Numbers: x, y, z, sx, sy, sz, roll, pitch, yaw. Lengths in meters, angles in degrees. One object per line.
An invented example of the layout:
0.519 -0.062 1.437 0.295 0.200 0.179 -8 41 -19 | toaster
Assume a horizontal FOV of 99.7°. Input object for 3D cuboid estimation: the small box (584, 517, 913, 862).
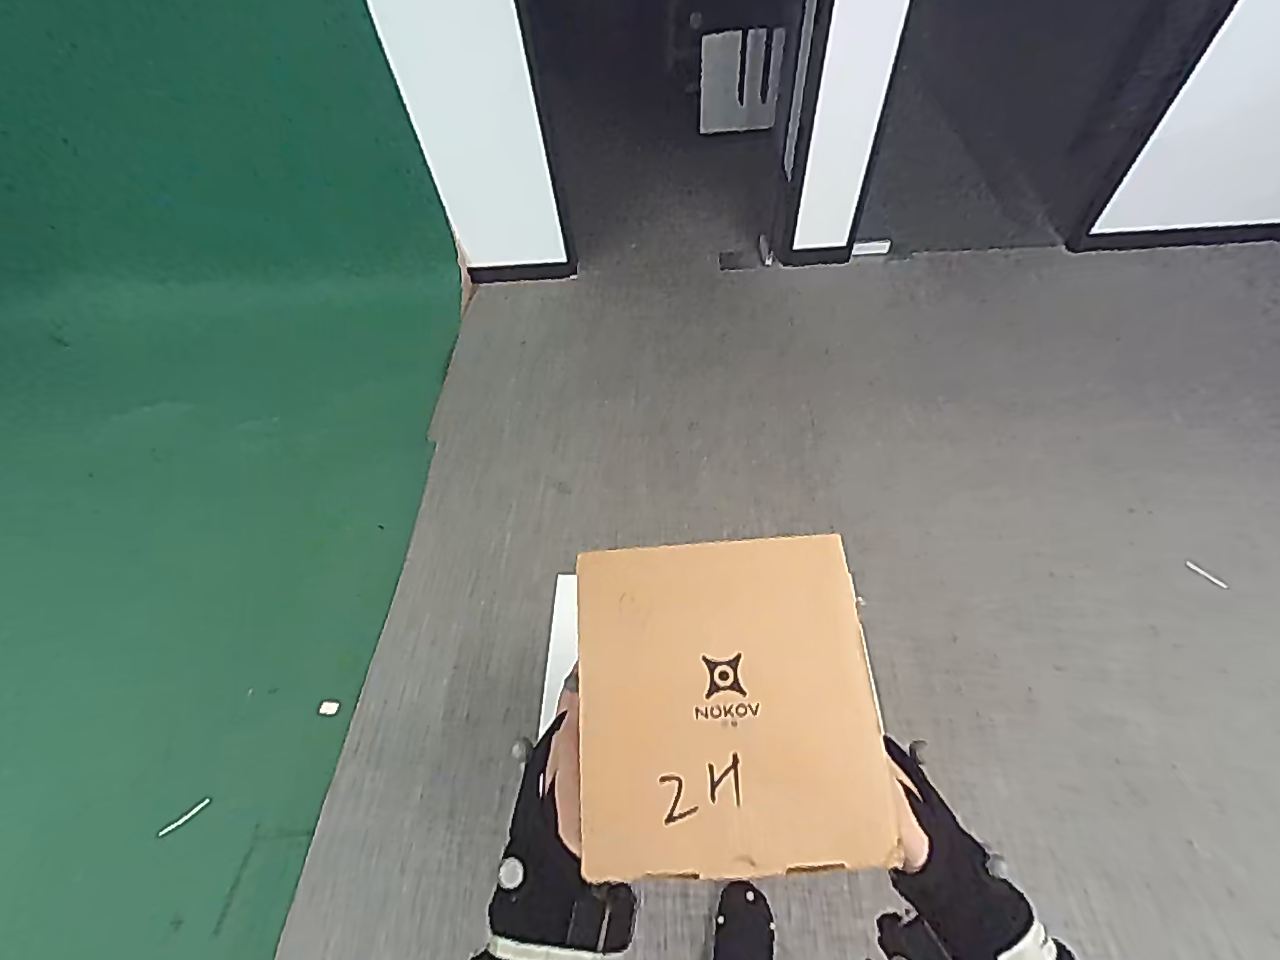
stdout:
0.054 0.138 0.374 0.168 0.176 0.179 -4 67 2 | small box
